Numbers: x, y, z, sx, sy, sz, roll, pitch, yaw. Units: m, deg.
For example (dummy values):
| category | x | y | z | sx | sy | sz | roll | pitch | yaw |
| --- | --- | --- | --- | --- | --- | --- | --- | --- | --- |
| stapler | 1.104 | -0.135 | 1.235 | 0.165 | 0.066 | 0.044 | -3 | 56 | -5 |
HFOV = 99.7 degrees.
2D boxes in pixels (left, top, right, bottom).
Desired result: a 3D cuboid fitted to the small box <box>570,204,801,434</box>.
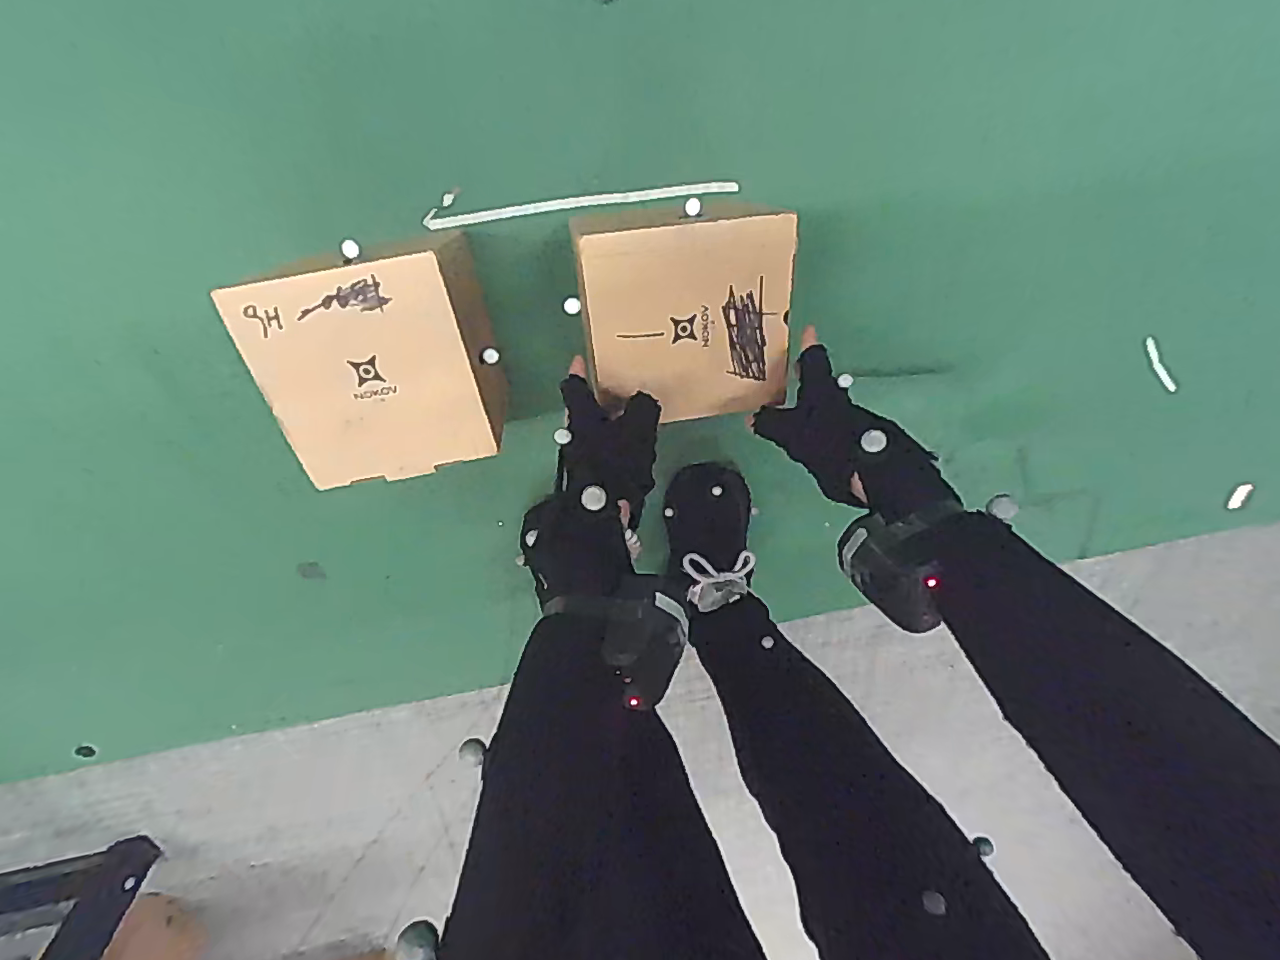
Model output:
| category | x | y | z | sx | sy | sz | roll | pitch | yaw |
| --- | --- | --- | --- | --- | --- | --- | --- | --- | --- |
| small box | 0.033 | -0.162 | 0.519 | 0.179 | 0.176 | 0.168 | -8 | 121 | -5 |
